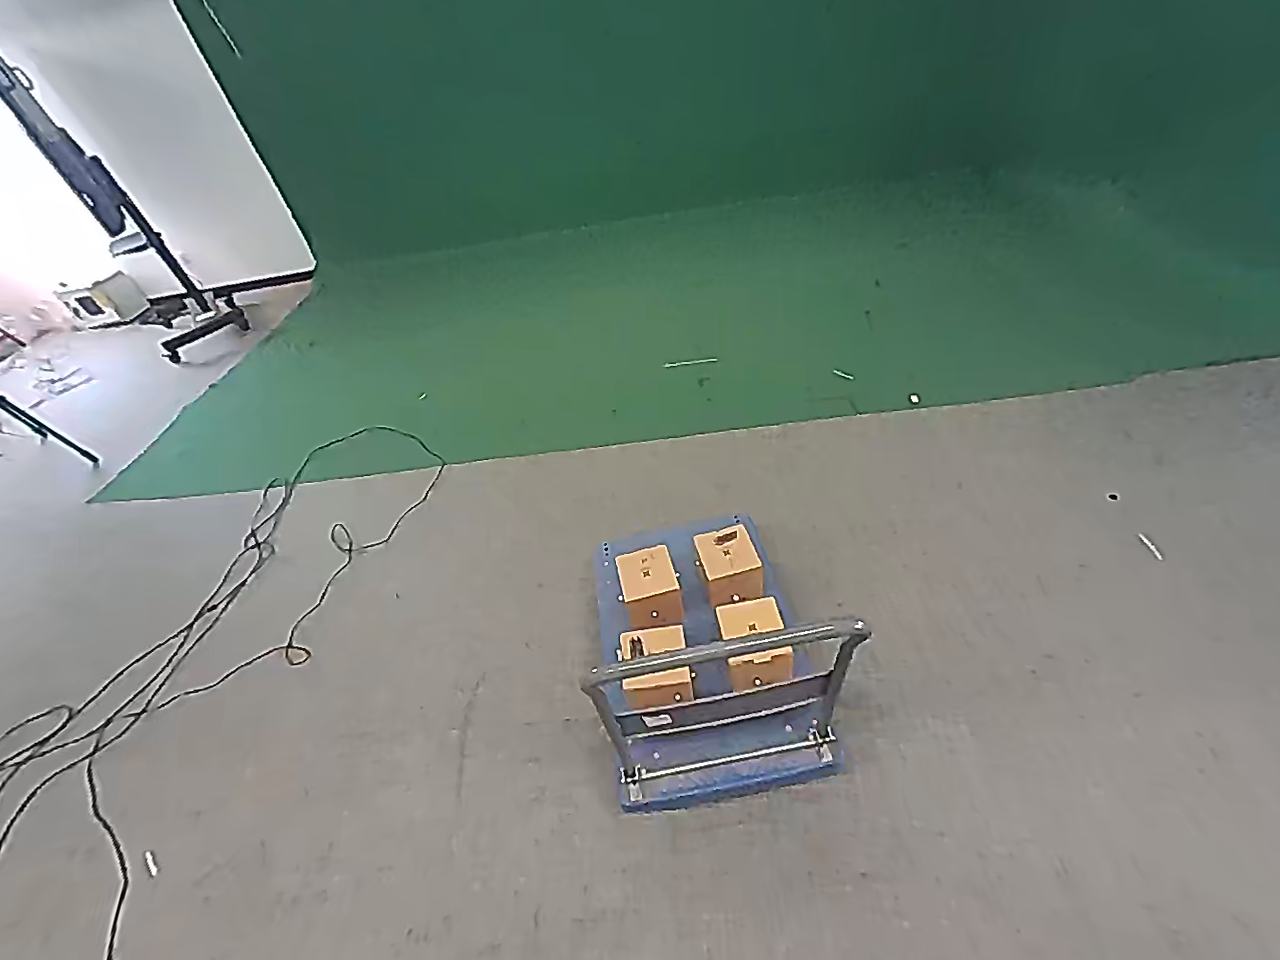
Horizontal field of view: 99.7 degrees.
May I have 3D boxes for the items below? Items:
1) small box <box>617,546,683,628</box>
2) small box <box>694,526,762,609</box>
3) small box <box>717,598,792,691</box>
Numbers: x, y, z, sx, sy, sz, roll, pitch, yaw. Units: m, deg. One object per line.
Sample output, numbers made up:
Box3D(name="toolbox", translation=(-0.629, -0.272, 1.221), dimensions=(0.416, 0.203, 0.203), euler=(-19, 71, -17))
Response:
Box3D(name="small box", translation=(0.032, 0.342, 1.692), dimensions=(0.168, 0.176, 0.179), euler=(-14, 43, -3))
Box3D(name="small box", translation=(0.276, 0.278, 1.704), dimensions=(0.168, 0.176, 0.179), euler=(-15, 44, -2))
Box3D(name="small box", translation=(0.313, 0.459, 1.507), dimensions=(0.168, 0.176, 0.179), euler=(-11, 43, 1))
